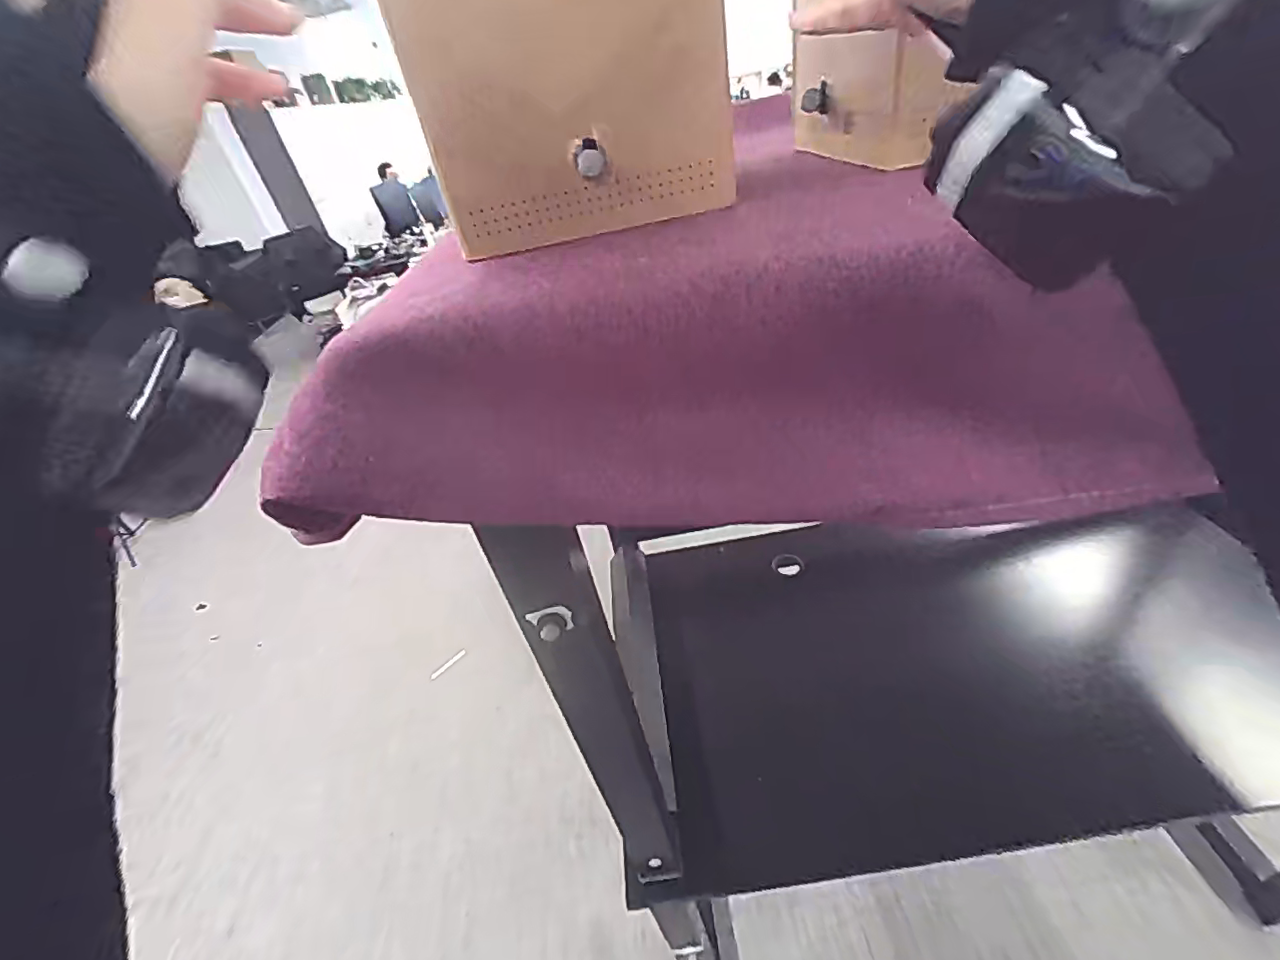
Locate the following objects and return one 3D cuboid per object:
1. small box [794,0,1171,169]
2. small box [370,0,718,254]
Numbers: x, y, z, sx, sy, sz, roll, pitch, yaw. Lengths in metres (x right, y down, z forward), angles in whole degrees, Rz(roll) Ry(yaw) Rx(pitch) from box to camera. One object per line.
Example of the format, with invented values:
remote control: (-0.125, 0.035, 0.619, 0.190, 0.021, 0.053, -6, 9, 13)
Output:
small box: (0.209, -0.322, 0.352, 0.179, 0.176, 0.168, -13, 36, -1)
small box: (-0.053, -0.263, 0.347, 0.179, 0.176, 0.168, -13, 36, -3)
